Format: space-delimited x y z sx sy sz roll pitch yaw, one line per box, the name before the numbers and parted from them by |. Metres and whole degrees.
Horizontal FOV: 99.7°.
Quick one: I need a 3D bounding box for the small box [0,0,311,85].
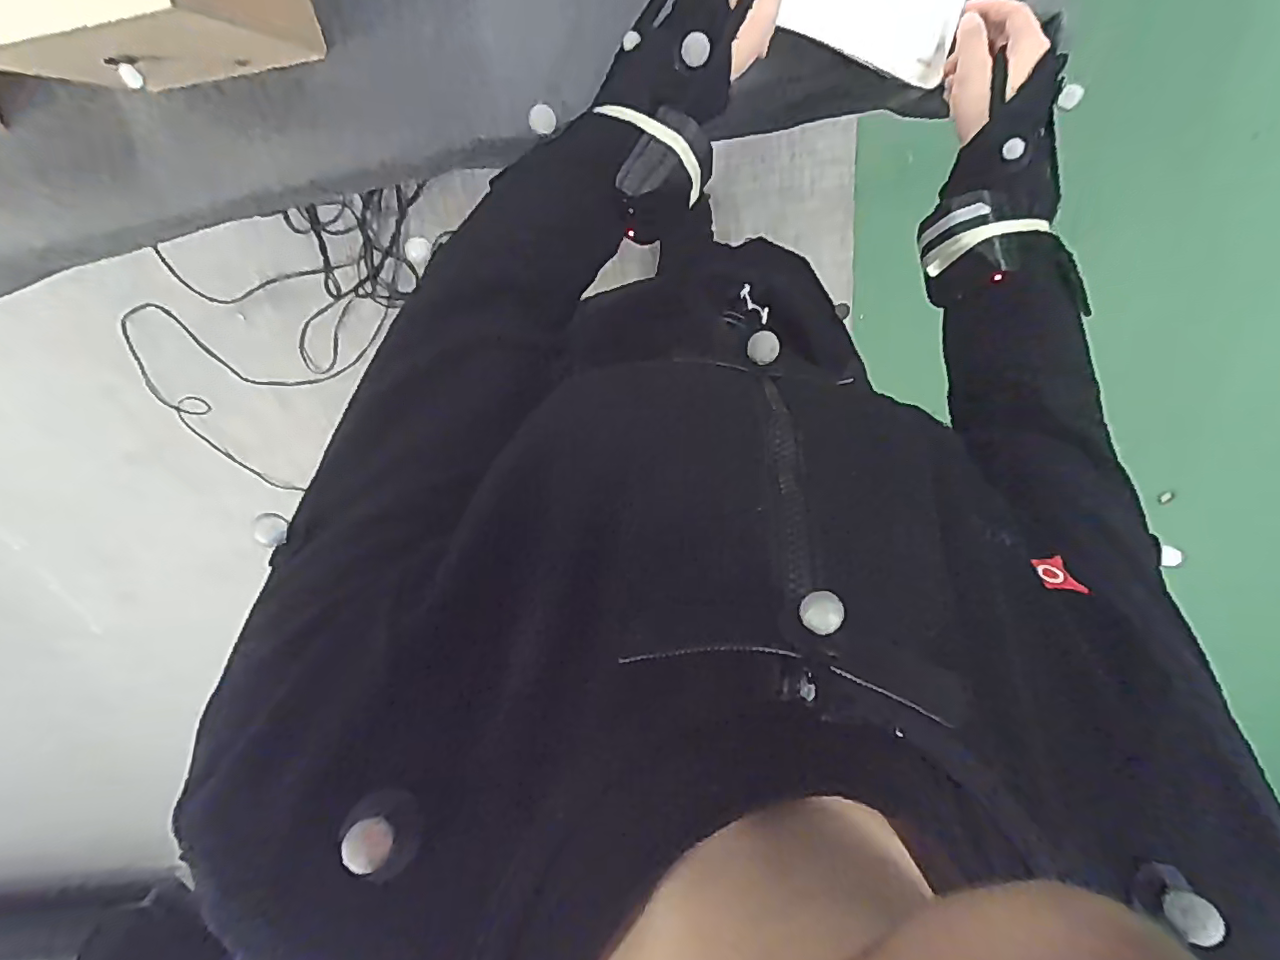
small box | -0.351 -0.367 0.336 0.168 0.176 0.179 -6 119 6
